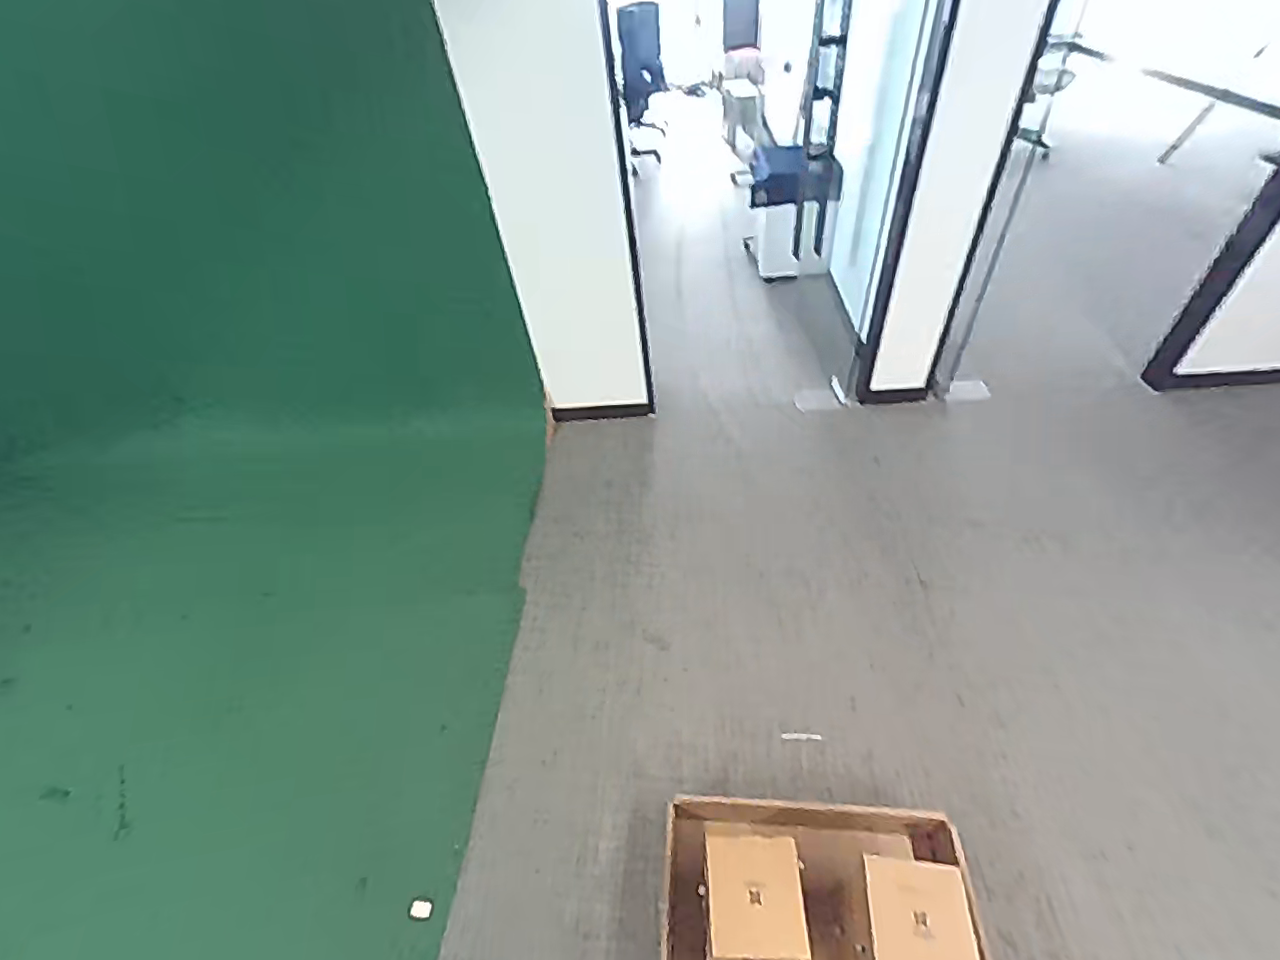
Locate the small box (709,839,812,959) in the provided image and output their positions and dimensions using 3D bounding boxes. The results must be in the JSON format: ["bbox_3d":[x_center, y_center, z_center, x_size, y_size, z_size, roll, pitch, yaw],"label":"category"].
[{"bbox_3d":[0.219,0.795,1.015,0.168,0.176,0.179,-3,45,6],"label":"small box"}]

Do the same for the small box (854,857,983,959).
[{"bbox_3d":[0.487,0.804,0.961,0.168,0.176,0.179,3,46,11],"label":"small box"}]
